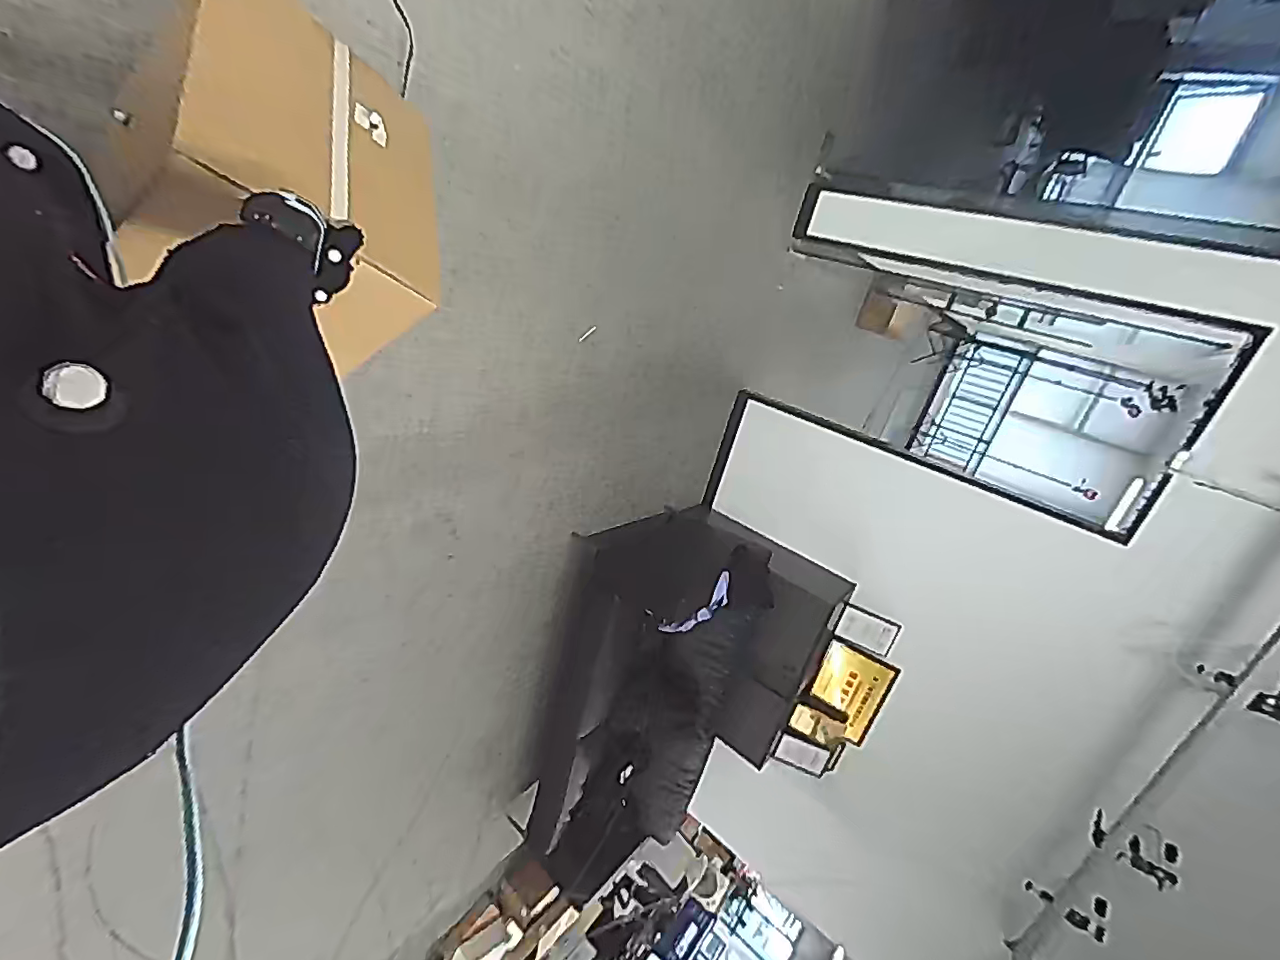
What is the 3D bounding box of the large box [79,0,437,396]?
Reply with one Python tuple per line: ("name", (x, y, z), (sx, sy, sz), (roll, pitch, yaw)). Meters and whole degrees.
("large box", (-0.539, -0.401, 0.801), (0.320, 0.408, 0.320), (-23, 155, 25))
